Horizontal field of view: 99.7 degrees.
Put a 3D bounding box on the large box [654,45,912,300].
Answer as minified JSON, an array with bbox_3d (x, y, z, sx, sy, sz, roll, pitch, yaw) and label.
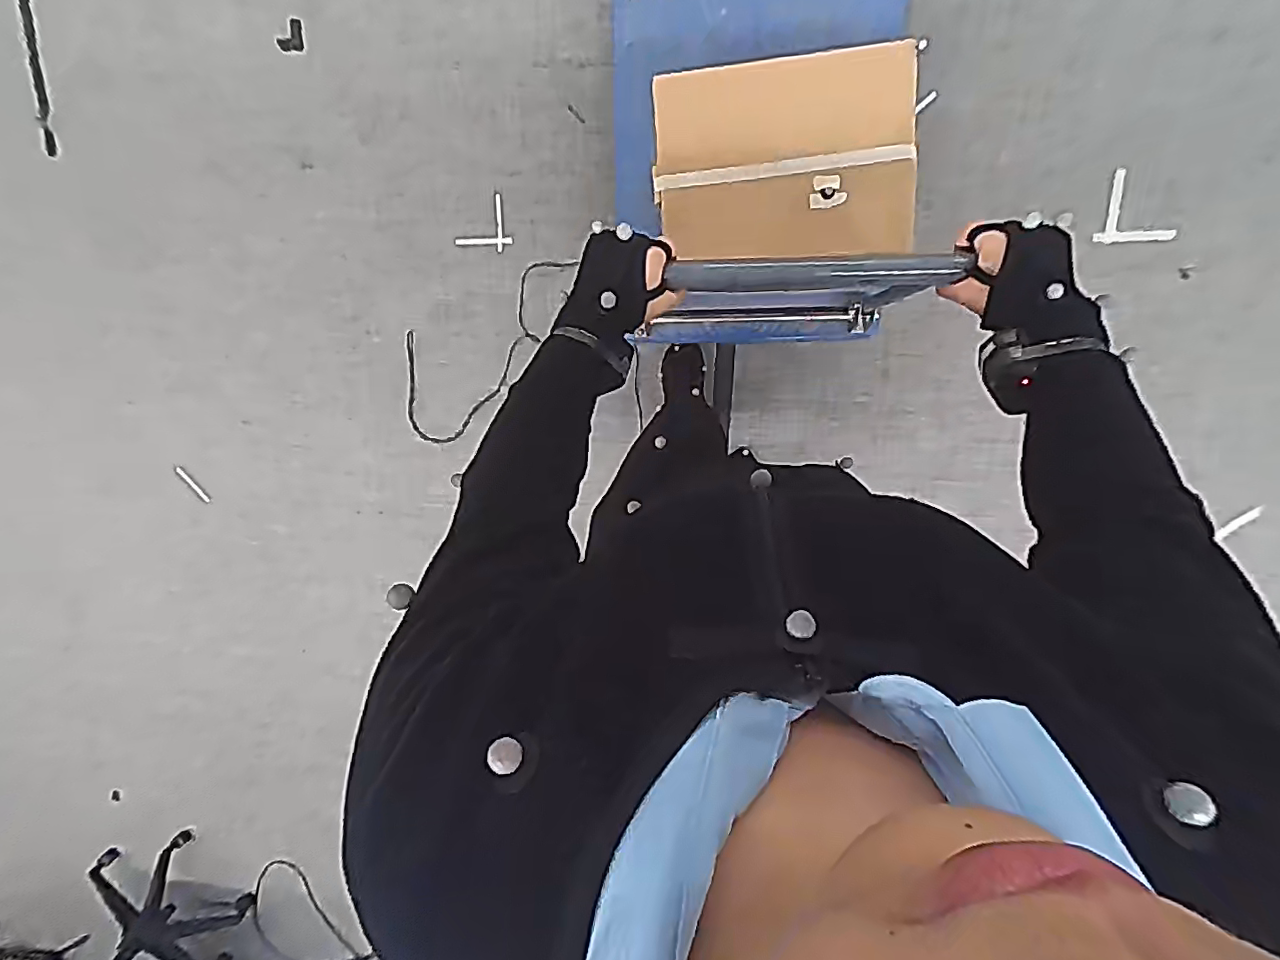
[{"bbox_3d":[0.245,-0.536,1.025,0.408,0.320,0.320,-4,103,5],"label":"large box"}]
